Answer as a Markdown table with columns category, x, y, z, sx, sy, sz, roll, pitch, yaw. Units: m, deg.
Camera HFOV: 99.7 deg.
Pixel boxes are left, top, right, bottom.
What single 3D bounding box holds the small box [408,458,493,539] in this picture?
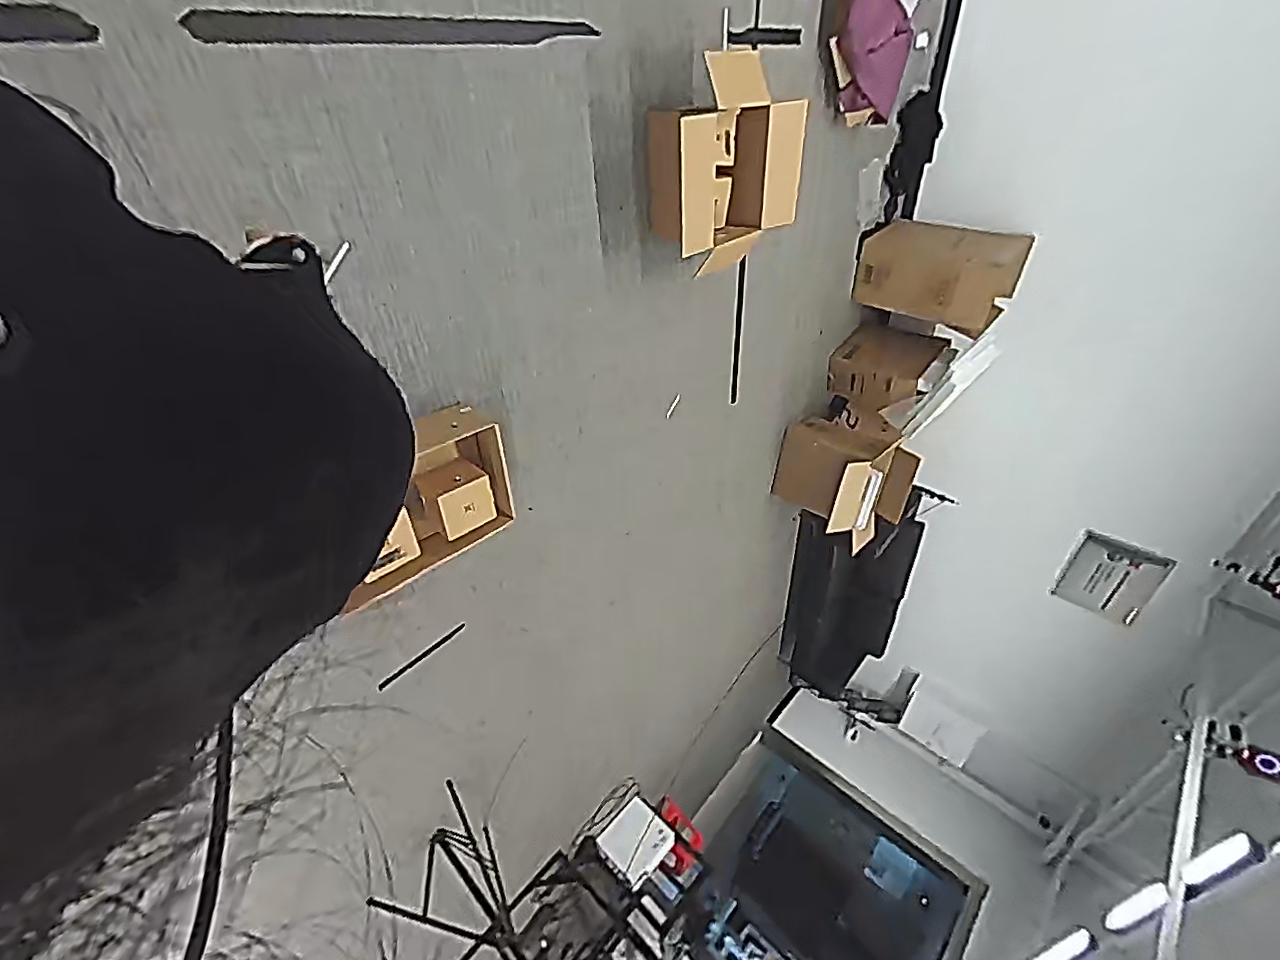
| category | x | y | z | sx | sy | sz | roll | pitch | yaw |
| --- | --- | --- | --- | --- | --- | --- | --- | --- | --- |
| small box | -0.599 | 0.050 | 1.714 | 0.179 | 0.176 | 0.168 | -31 | 132 | -36 |
